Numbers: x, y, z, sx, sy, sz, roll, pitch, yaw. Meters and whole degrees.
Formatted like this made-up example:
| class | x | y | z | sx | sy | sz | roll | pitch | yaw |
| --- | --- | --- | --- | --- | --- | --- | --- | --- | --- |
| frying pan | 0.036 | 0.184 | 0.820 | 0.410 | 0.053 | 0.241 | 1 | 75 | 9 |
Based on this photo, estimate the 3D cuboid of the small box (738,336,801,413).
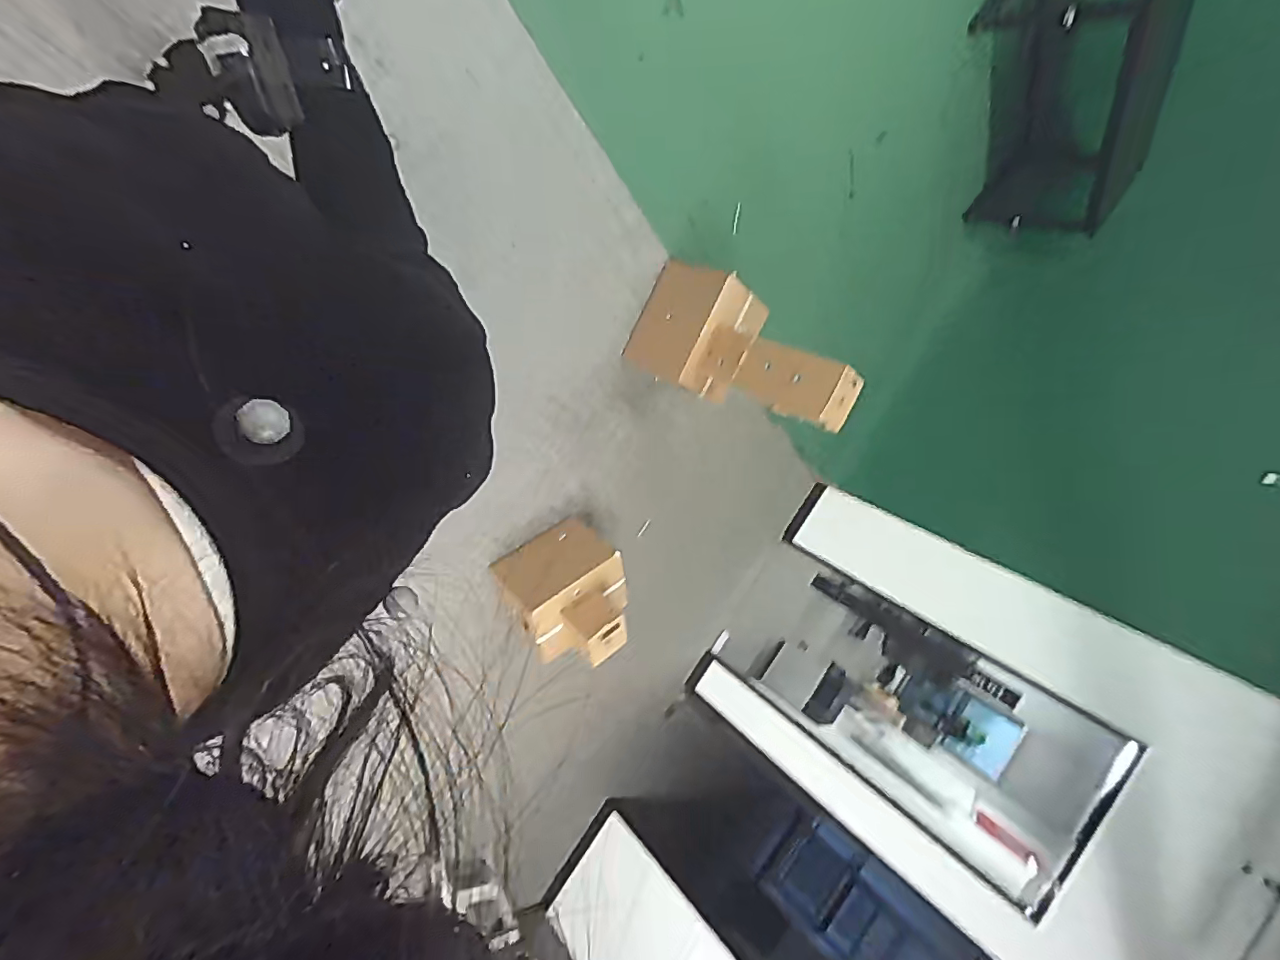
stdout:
| class | x | y | z | sx | sy | sz | roll | pitch | yaw |
| --- | --- | --- | --- | --- | --- | --- | --- | --- | --- |
| small box | 0.446 | -0.348 | 1.777 | 0.168 | 0.176 | 0.179 | 16 | 103 | -50 |

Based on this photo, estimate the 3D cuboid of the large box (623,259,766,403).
| class | x | y | z | sx | sy | sz | roll | pitch | yaw |
| --- | --- | --- | --- | --- | --- | --- | --- | --- | --- |
| large box | 0.201 | -0.555 | 2.033 | 0.320 | 0.320 | 0.408 | 16 | 101 | -52 |

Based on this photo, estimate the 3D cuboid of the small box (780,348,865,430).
| class | x | y | z | sx | sy | sz | roll | pitch | yaw |
| --- | --- | --- | --- | --- | --- | --- | --- | --- | --- |
| small box | 0.558 | -0.282 | 1.676 | 0.168 | 0.176 | 0.179 | 17 | 103 | -51 |

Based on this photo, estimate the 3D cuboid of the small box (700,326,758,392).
| class | x | y | z | sx | sy | sz | roll | pitch | yaw |
| --- | --- | --- | --- | --- | --- | --- | --- | --- | --- |
| small box | 0.337 | -0.420 | 1.876 | 0.179 | 0.176 | 0.168 | 17 | 102 | -51 |
